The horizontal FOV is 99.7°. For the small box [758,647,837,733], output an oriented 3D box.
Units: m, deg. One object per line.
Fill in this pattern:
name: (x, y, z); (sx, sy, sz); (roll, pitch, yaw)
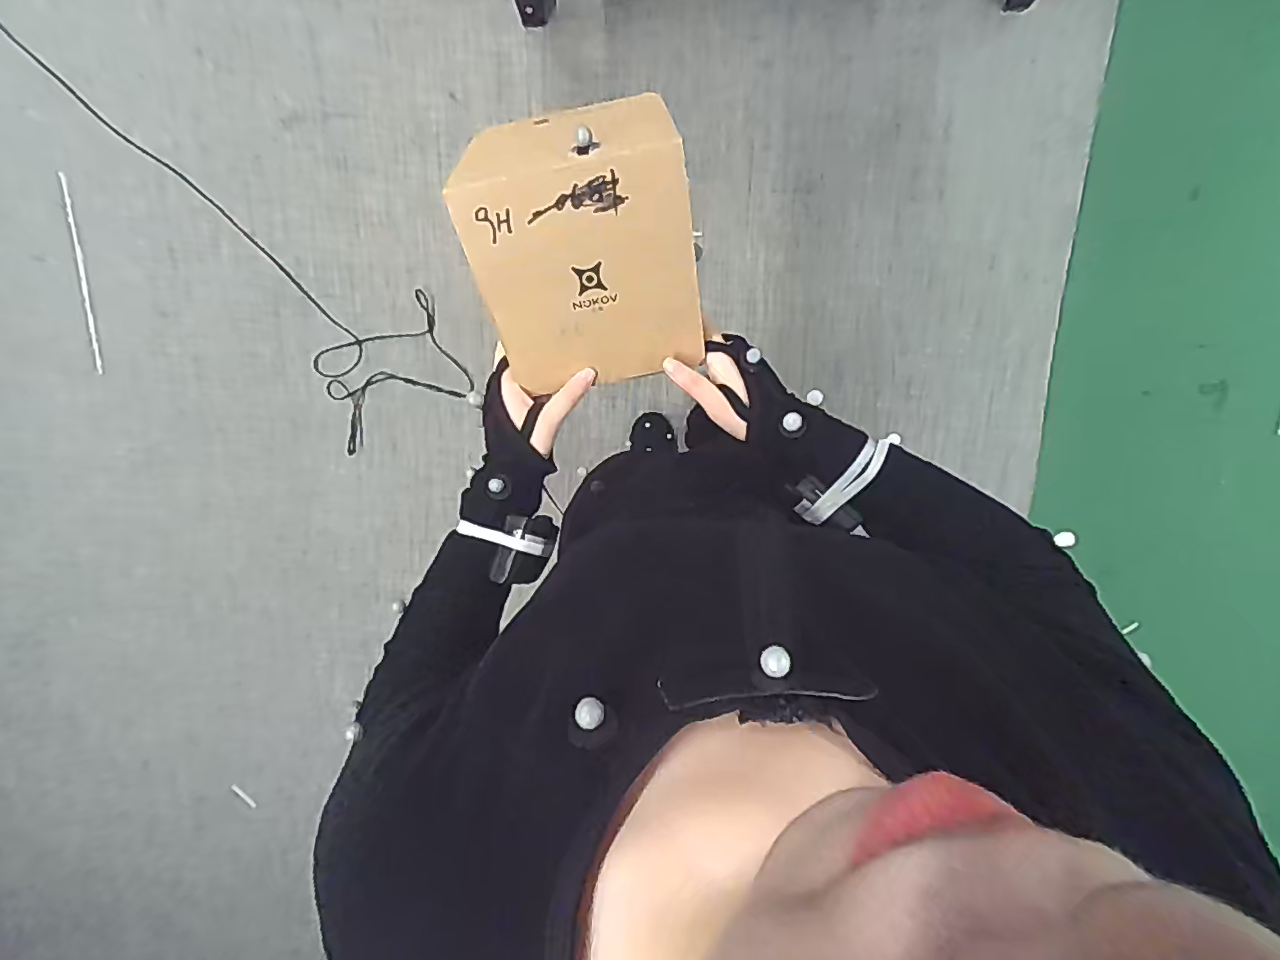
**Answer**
small box: (0.436, 0.588, 1.526); (0.179, 0.176, 0.168); (0, 102, 1)

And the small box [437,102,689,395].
small box: (-0.053, -0.206, 0.485); (0.168, 0.176, 0.179); (-10, 134, 4)
